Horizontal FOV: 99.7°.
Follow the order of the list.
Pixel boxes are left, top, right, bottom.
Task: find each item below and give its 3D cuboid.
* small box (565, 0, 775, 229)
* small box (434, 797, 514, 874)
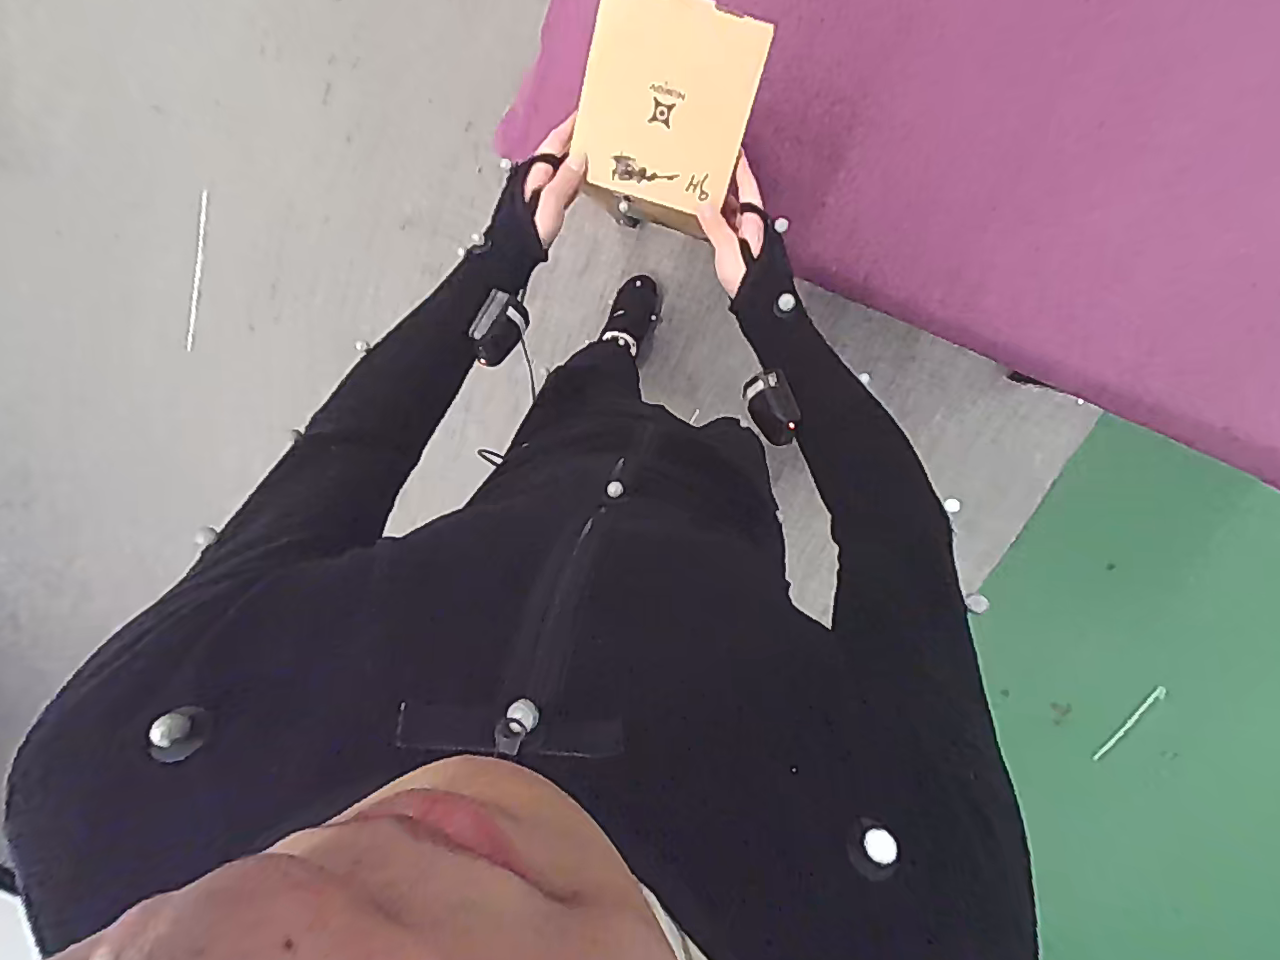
[{"bbox_3d":[0.028,-0.399,0.597,0.168,0.176,0.179,16,109,-2],"label":"small box"},{"bbox_3d":[-0.522,1.161,1.727,0.168,0.176,0.179,28,109,-4],"label":"small box"}]
